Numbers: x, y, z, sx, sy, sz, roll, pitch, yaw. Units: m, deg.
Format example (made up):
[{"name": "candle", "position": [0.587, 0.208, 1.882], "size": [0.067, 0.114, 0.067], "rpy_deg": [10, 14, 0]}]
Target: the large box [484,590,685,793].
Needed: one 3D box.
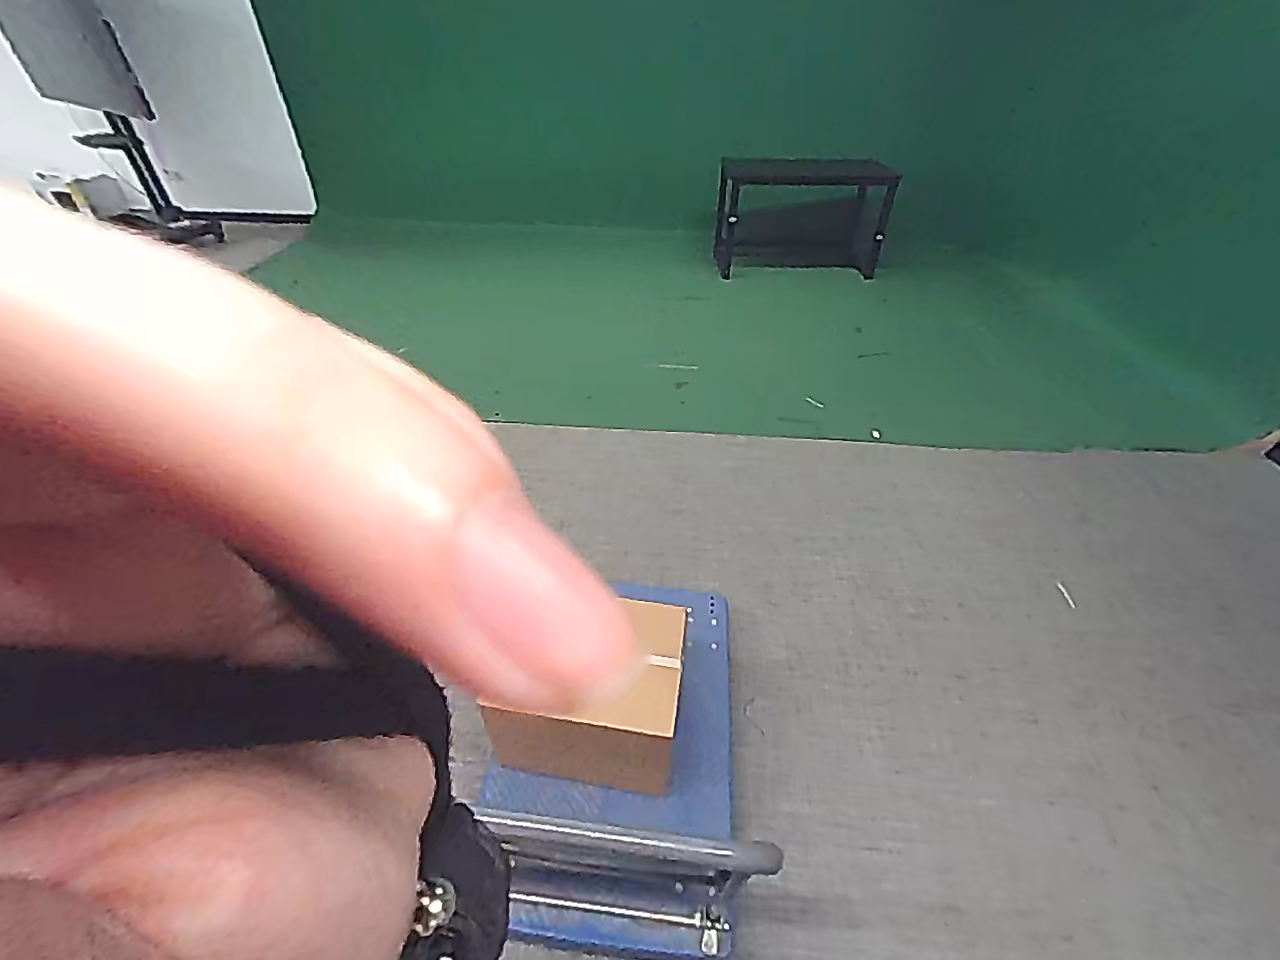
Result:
[{"name": "large box", "position": [-0.116, 0.504, 1.300], "size": [0.408, 0.320, 0.320], "rpy_deg": [8, 41, 5]}]
